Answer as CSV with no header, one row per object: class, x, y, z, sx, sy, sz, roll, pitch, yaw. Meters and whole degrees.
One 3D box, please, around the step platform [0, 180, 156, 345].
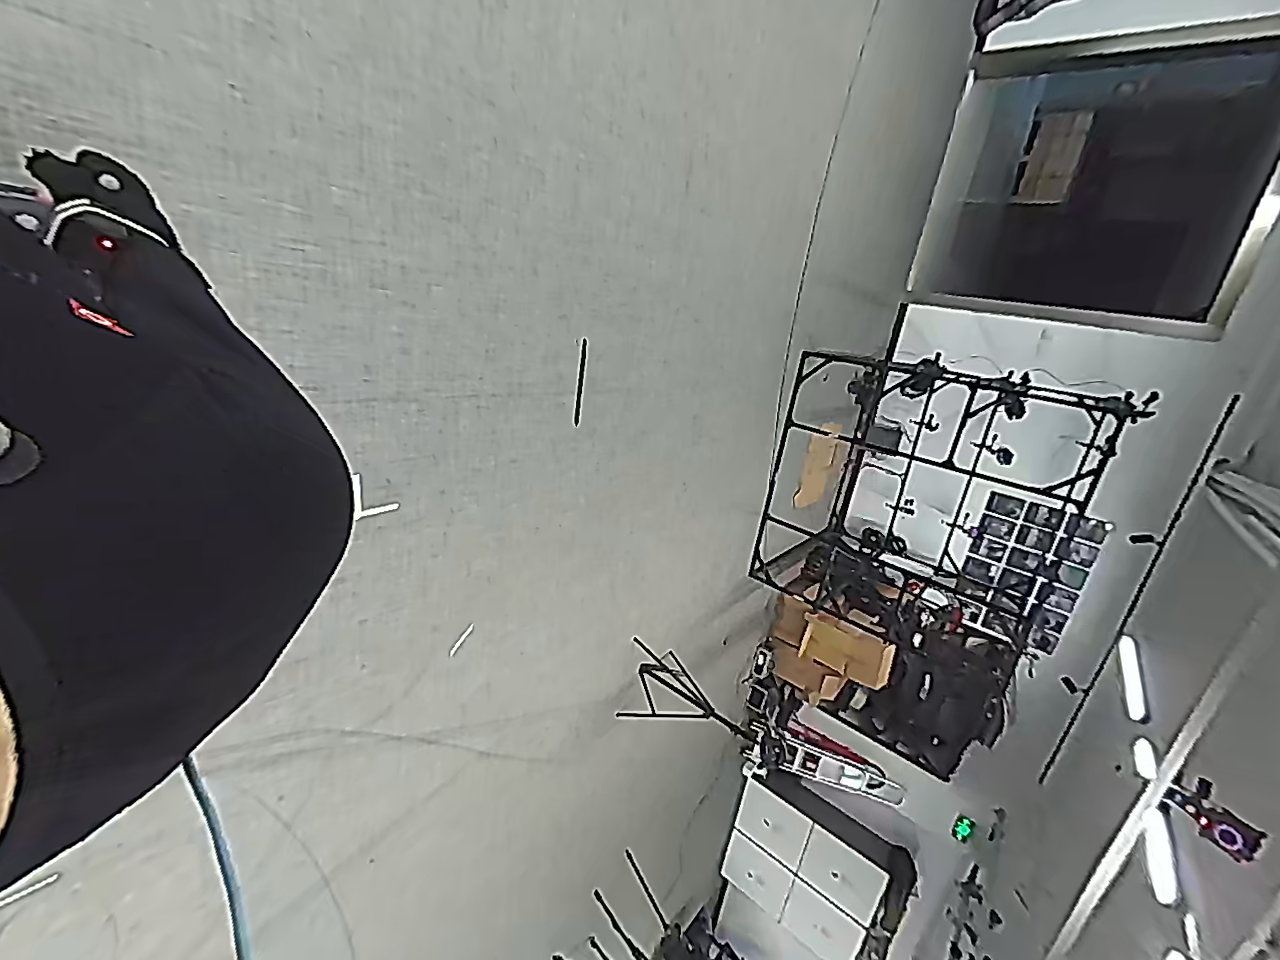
step platform,-1.268,-0.384,0.901,0.684,0.204,0.286,-17,121,-51
